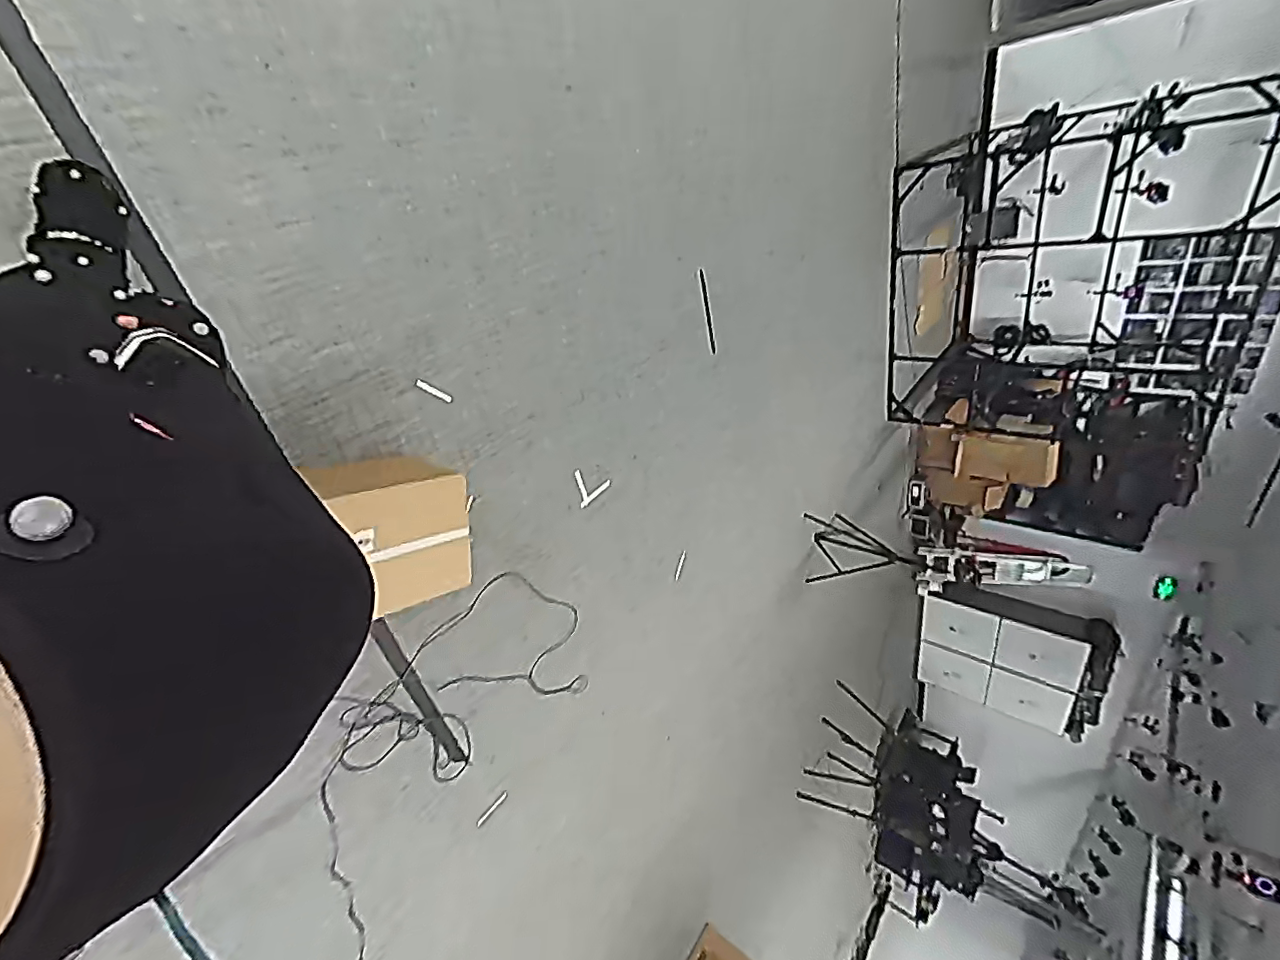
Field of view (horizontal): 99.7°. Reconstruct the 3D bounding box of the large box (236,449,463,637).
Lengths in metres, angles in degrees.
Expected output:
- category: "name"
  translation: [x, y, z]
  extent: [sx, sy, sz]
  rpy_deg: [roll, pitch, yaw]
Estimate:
- category: "large box"
  translation: [-0.711, 0.124, 1.355]
  extent: [0.408, 0.320, 0.320]
  rpy_deg: [-16, 113, -47]
